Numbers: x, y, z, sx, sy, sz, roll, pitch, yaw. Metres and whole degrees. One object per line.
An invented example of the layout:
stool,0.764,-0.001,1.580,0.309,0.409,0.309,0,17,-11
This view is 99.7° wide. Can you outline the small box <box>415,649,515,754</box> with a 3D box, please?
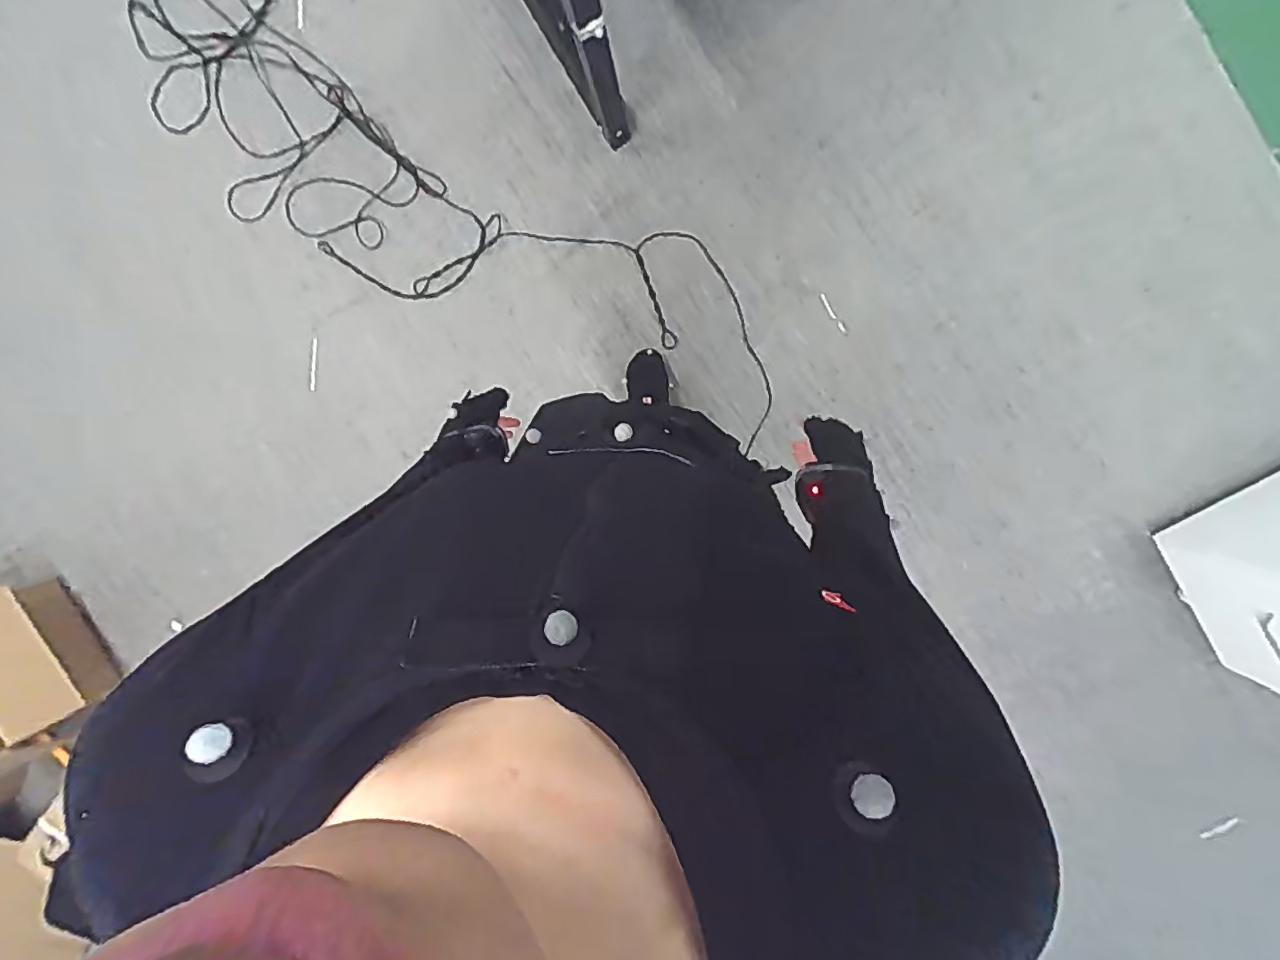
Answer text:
small box,-0.479,0.610,1.509,0.179,0.176,0.168,-36,95,8
